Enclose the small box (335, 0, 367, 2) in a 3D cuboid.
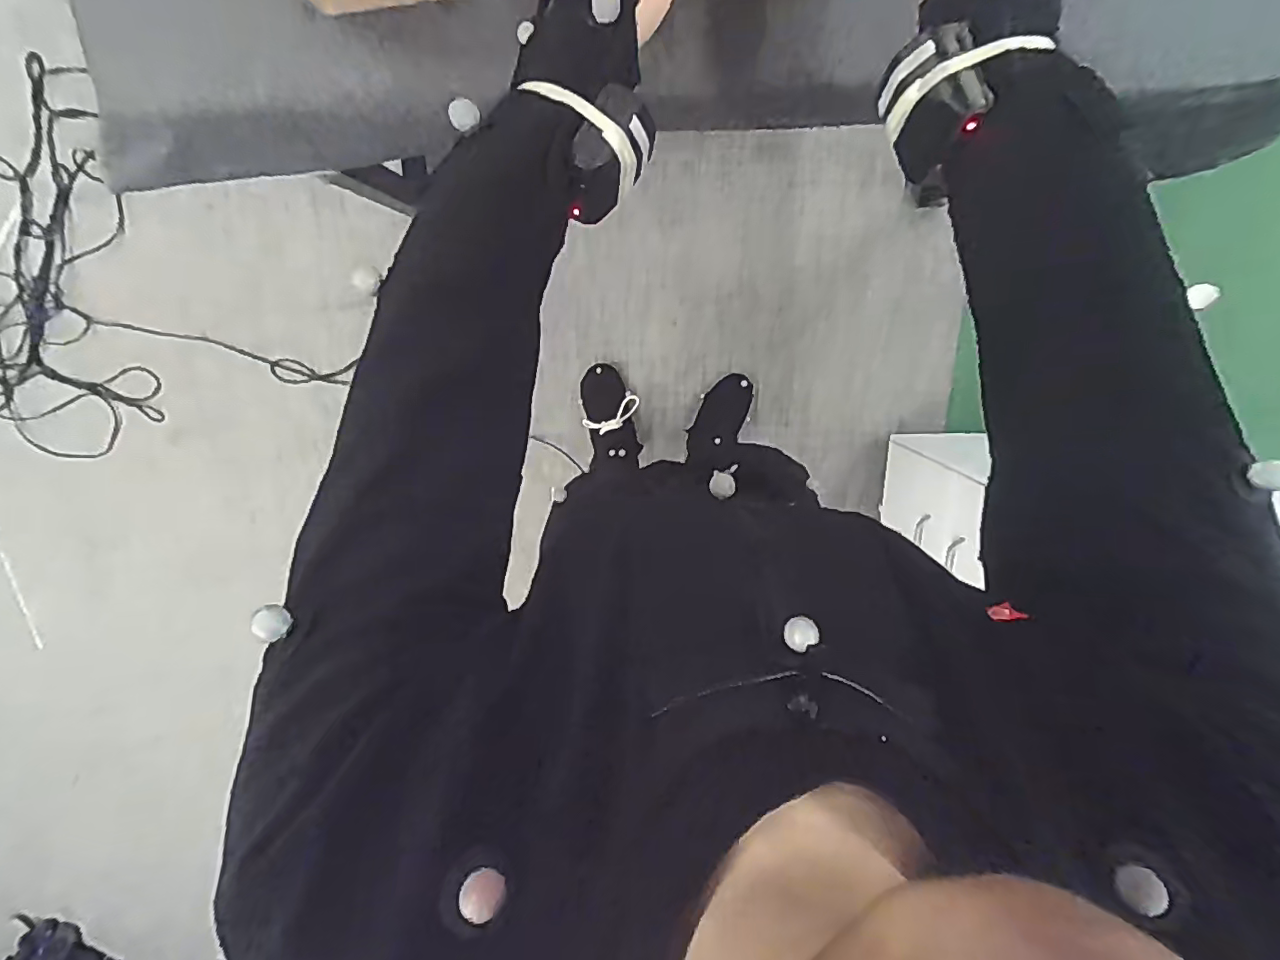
[{"bbox_3d":[-0.225,-0.498,0.398,0.168,0.176,0.179,-6,105,2],"label":"small box"}]
